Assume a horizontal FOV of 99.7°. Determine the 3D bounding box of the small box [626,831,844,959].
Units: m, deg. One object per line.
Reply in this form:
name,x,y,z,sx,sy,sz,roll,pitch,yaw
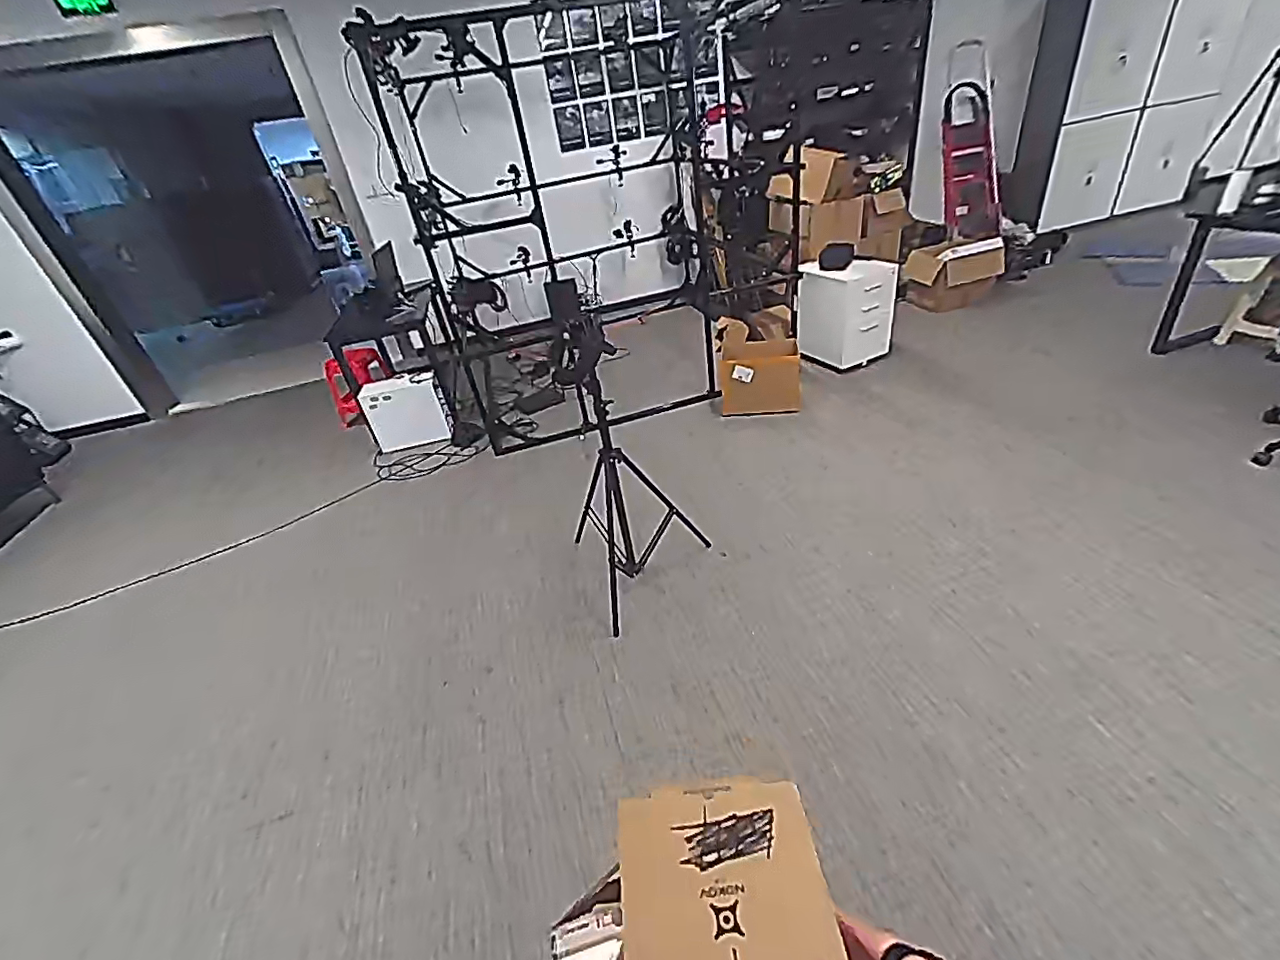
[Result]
small box,0.077,0.432,0.454,0.168,0.176,0.179,-6,37,-1
